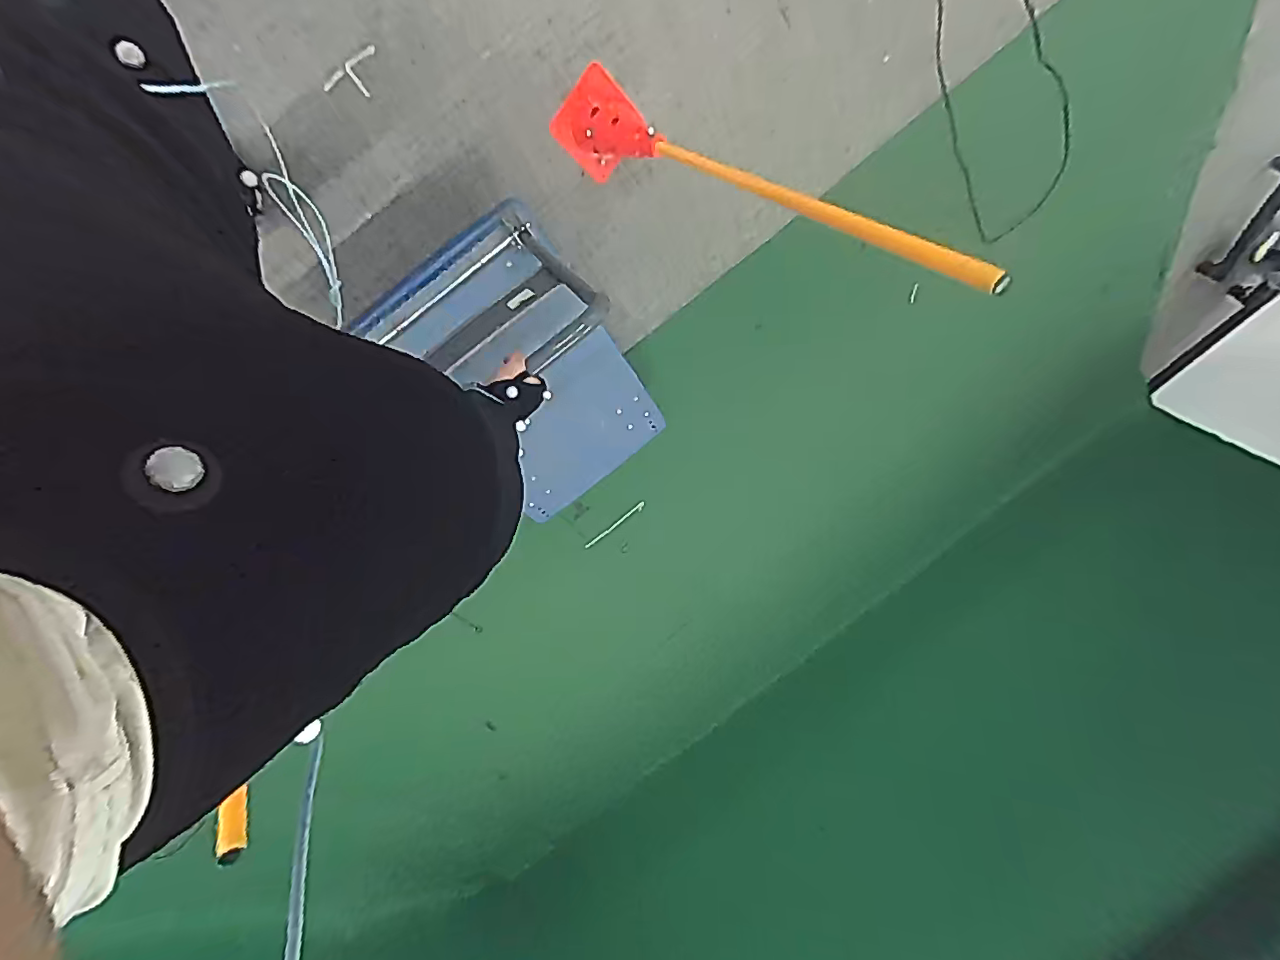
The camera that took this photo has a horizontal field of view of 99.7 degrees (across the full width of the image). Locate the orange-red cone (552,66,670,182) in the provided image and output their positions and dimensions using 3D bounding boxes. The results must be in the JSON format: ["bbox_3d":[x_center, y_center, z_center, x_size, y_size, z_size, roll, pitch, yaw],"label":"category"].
[{"bbox_3d":[-0.030,-0.810,1.272,0.199,0.360,0.198,-50,136,12],"label":"orange-red cone"}]
